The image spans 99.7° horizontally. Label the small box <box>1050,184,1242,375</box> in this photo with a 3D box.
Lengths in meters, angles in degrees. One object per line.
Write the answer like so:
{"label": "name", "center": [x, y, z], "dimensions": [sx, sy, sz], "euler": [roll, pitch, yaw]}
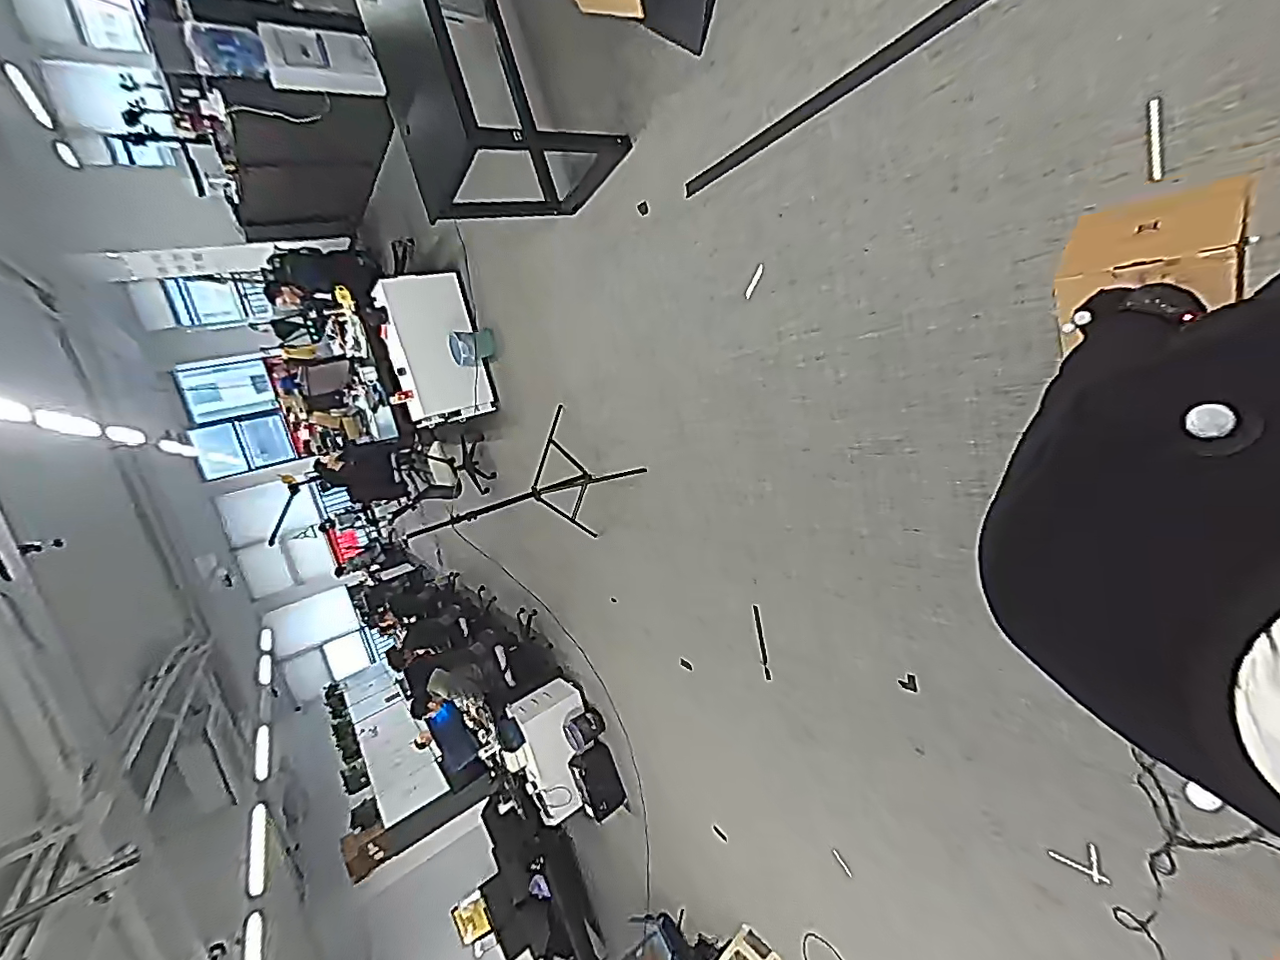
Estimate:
{"label": "small box", "center": [0.683, -0.254, 0.729], "dimensions": [0.168, 0.179, 0.176], "euler": [5, 136, 49]}
